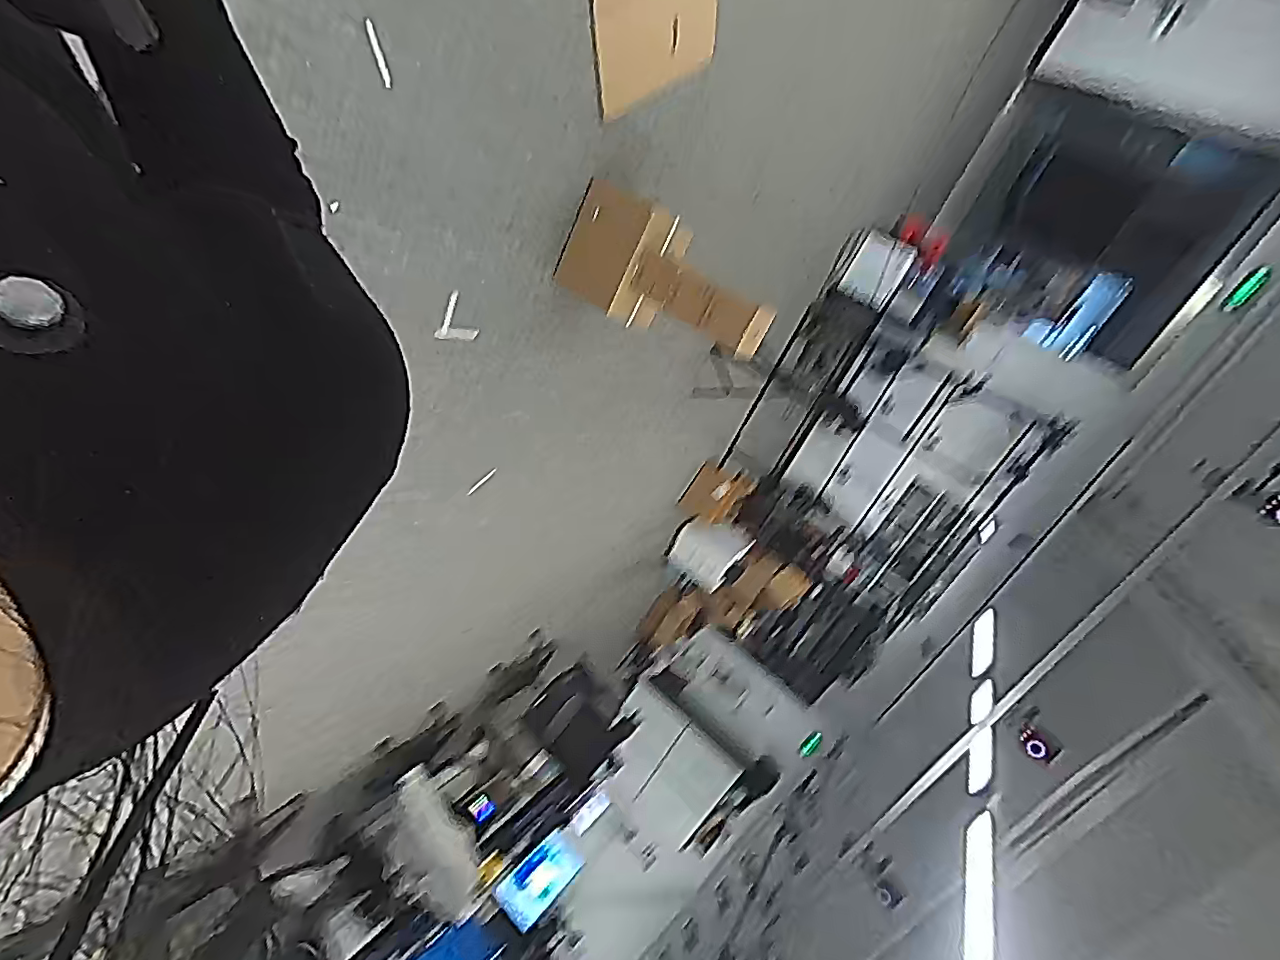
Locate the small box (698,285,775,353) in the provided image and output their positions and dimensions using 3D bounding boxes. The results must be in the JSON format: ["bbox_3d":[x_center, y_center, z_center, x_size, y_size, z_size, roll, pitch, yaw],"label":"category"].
[{"bbox_3d":[0.332,-0.556,1.874,0.179,0.176,0.168,-15,136,-57],"label":"small box"}]

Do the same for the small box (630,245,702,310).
[{"bbox_3d":[0.092,-0.747,1.993,0.179,0.176,0.168,-19,140,-55],"label":"small box"}]
